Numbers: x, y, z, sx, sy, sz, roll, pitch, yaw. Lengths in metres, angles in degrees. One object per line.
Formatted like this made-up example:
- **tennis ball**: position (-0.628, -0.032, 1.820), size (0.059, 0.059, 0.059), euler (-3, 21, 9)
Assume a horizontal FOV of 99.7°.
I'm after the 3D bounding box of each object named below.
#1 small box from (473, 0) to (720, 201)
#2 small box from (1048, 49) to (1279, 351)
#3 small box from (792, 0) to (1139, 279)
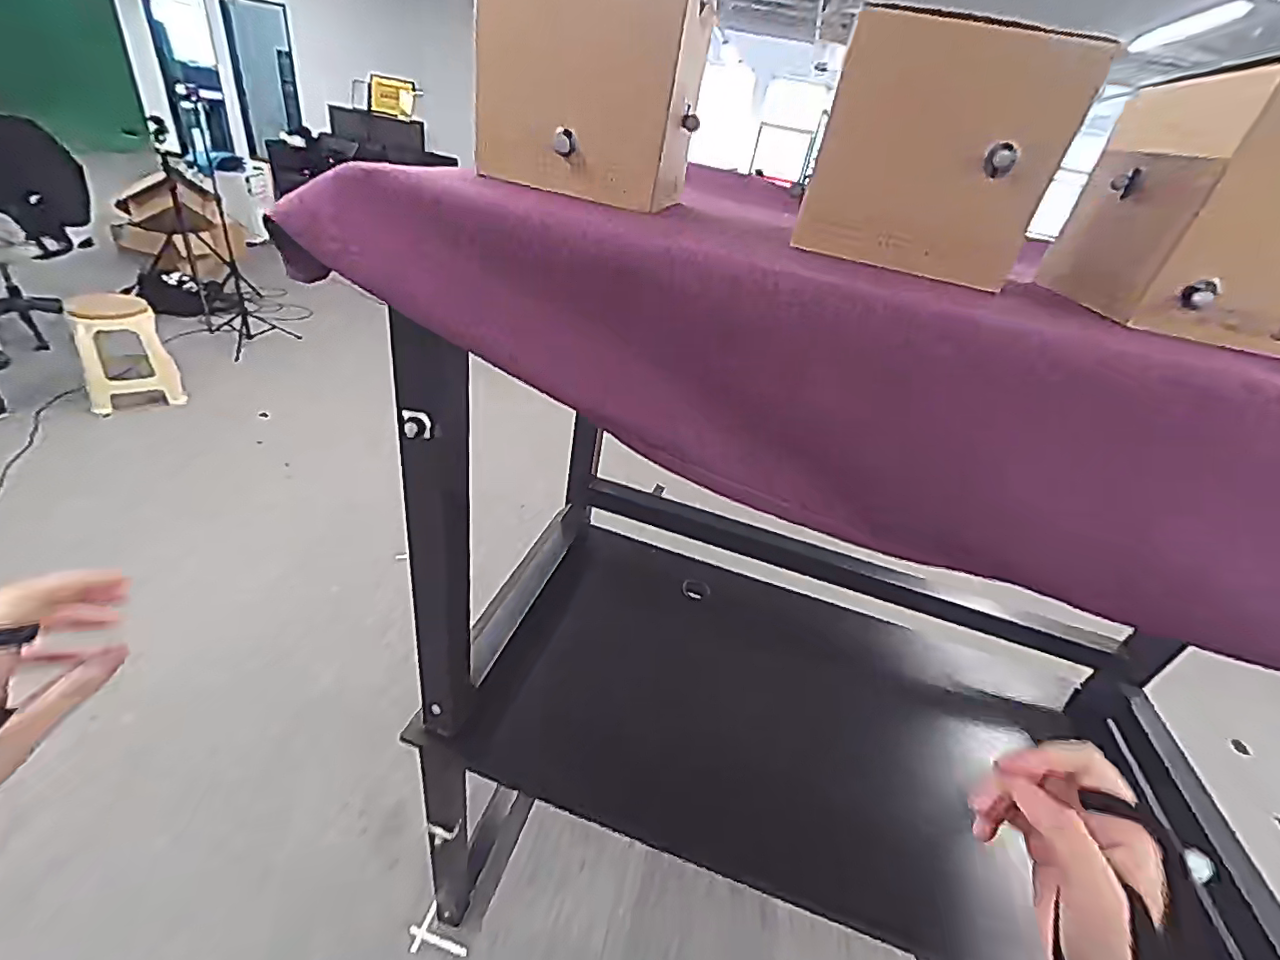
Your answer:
- **small box**: position (-0.038, -0.367, 0.504), size (0.179, 0.176, 0.168), euler (16, 33, 5)
- **small box**: position (0.475, -0.207, 0.418), size (0.168, 0.176, 0.179), euler (14, 32, 4)
- **small box**: position (0.246, -0.281, 0.464), size (0.179, 0.176, 0.168), euler (17, 32, 9)
